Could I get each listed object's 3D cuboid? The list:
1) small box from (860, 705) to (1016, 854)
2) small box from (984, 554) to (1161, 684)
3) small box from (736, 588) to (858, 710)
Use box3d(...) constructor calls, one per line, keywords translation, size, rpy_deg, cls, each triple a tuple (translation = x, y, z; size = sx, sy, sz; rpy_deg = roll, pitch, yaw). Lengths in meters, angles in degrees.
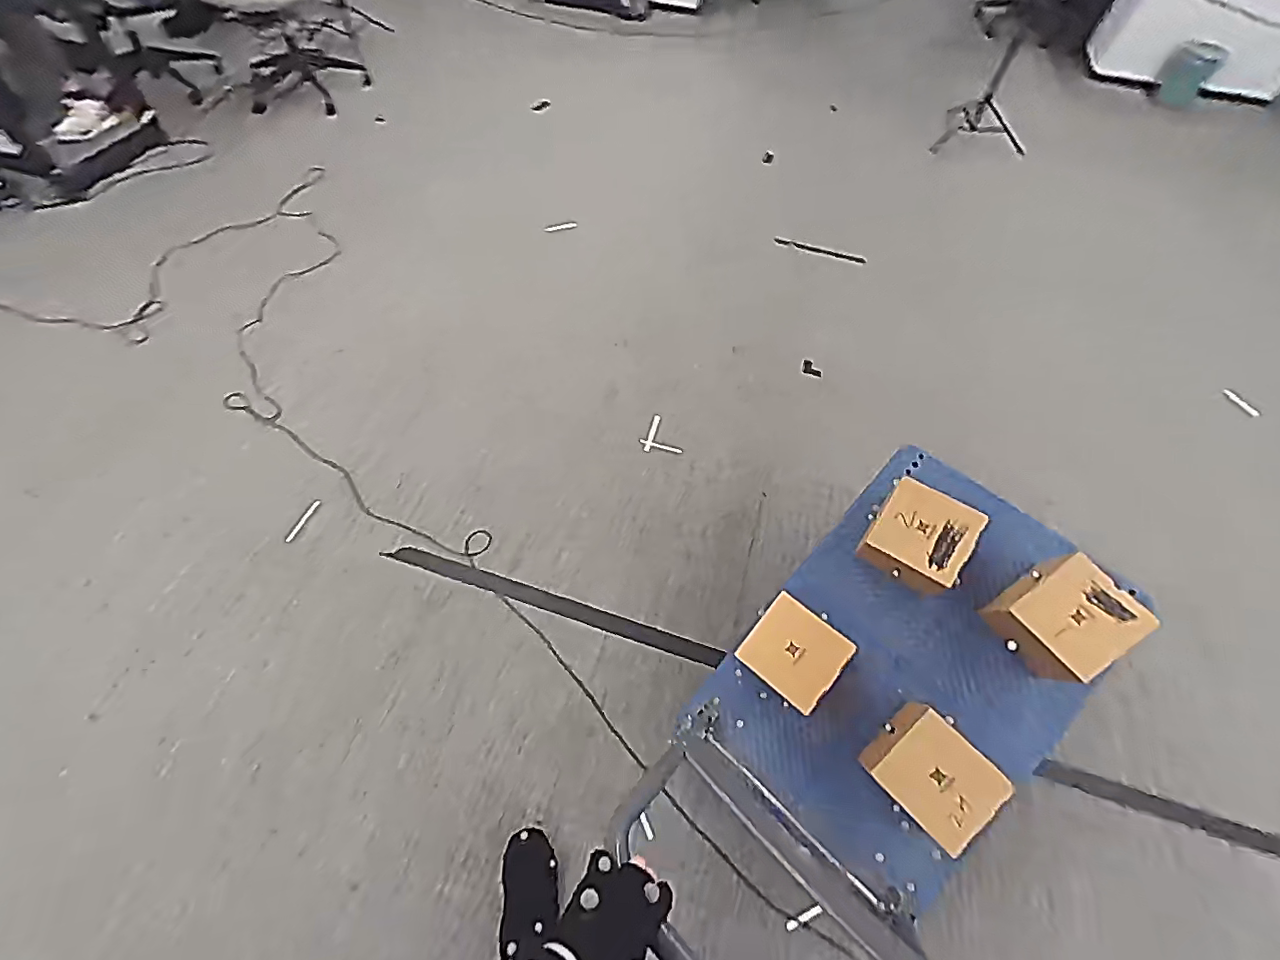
box3d(translation=(0.545, 0.547, 1.020), size=(0.168, 0.176, 0.179), rpy_deg=(-44, 69, -3), cls="small box")
box3d(translation=(0.817, 0.268, 1.047), size=(0.179, 0.176, 0.168), rpy_deg=(-38, 69, 0), cls="small box")
box3d(translation=(0.321, 0.354, 1.135), size=(0.179, 0.176, 0.168), rpy_deg=(38, 84, 19), cls="small box")
